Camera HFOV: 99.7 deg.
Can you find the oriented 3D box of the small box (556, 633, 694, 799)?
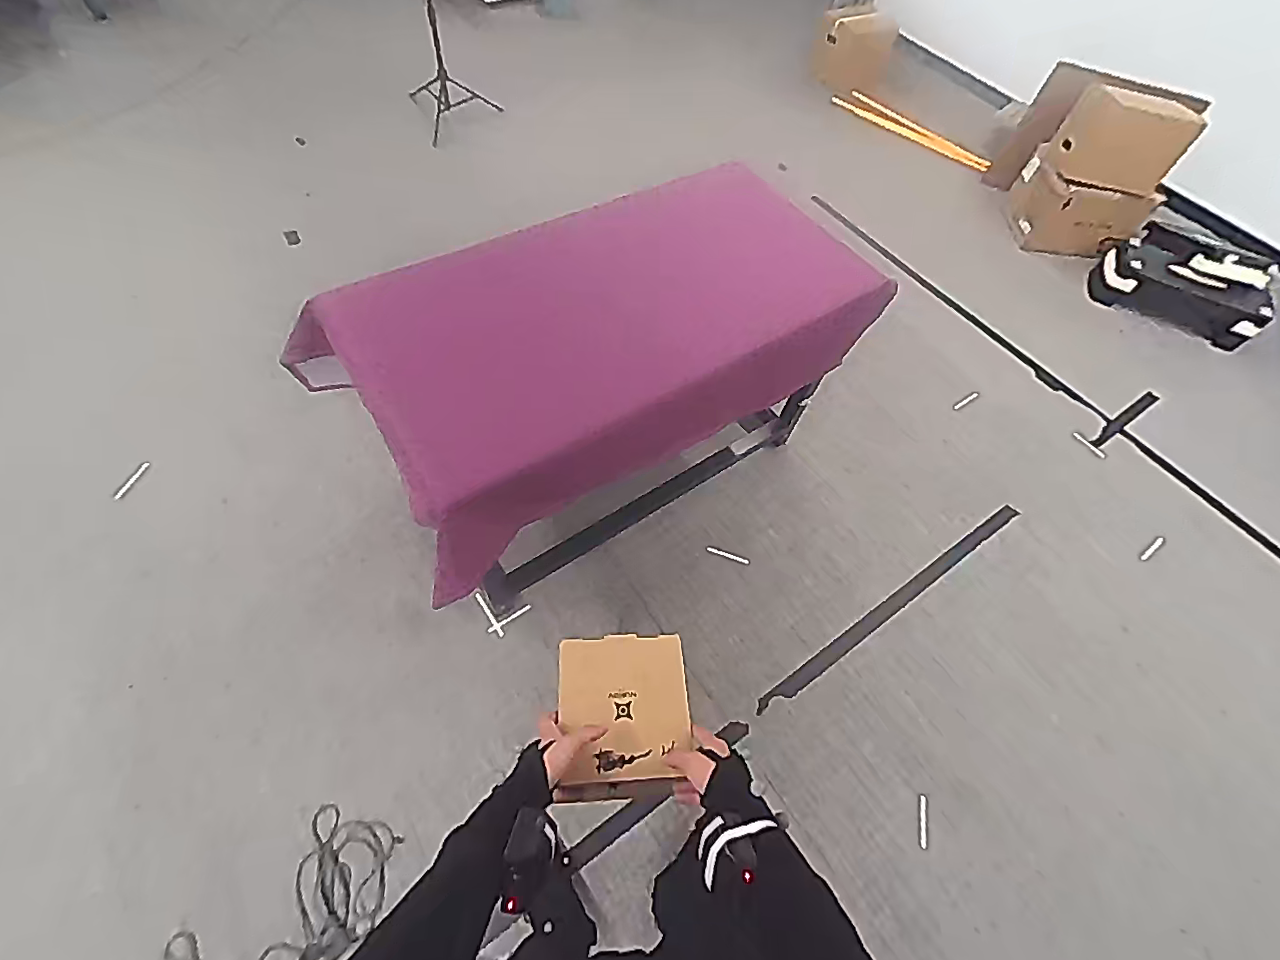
[{"bbox_3d":[-0.025,0.325,0.741,0.168,0.176,0.179,-1,55,-4],"label":"small box"}]
